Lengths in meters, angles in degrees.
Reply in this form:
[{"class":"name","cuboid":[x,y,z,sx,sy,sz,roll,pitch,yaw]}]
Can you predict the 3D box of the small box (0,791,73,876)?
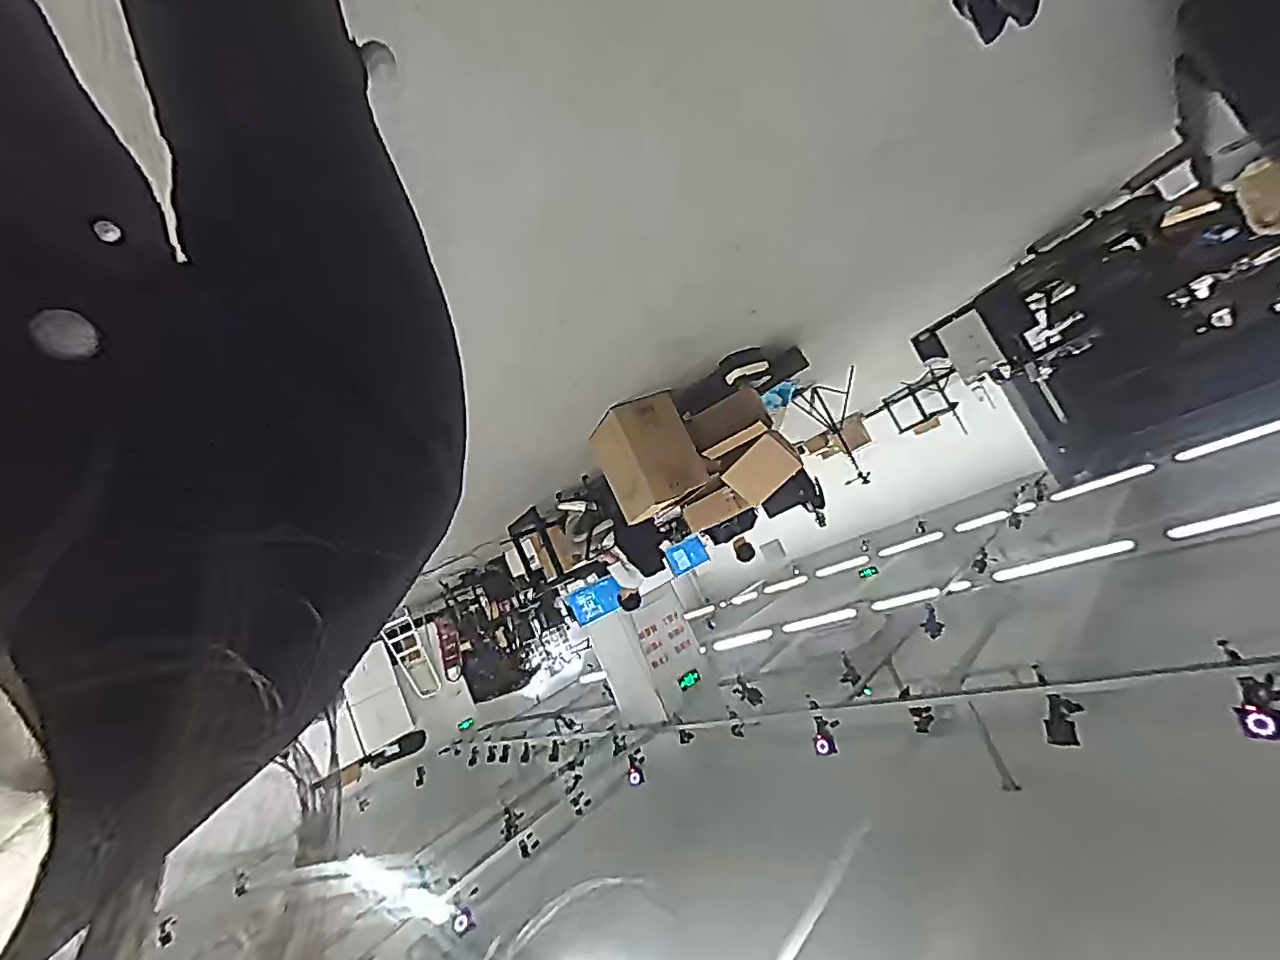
[{"class":"small box","cuboid":[-1.868,1.071,1.627,0.179,0.176,0.168,-20,172,-42]}]
